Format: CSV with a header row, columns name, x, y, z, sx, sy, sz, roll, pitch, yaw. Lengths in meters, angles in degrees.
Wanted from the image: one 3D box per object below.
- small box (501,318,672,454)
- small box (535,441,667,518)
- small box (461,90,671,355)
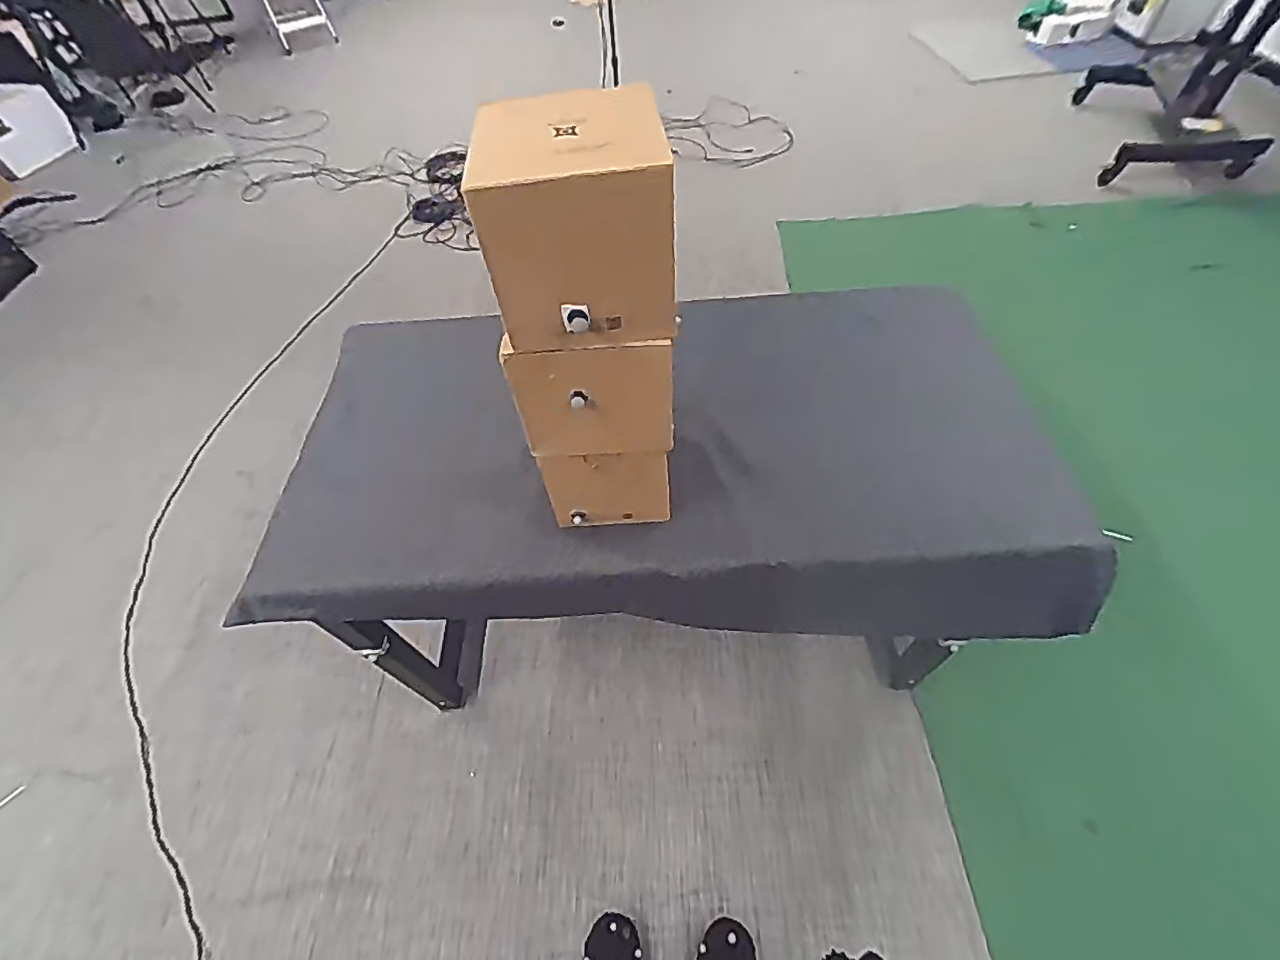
name,x,y,z,sx,sy,sz,roll,pitch,yaw
small box,-0.057,-0.146,0.664,0.179,0.176,0.168,-5,51,0
small box,-0.049,-0.055,0.795,0.168,0.176,0.179,-4,52,2
small box,-0.063,-0.250,0.534,0.168,0.176,0.179,-9,54,-1
